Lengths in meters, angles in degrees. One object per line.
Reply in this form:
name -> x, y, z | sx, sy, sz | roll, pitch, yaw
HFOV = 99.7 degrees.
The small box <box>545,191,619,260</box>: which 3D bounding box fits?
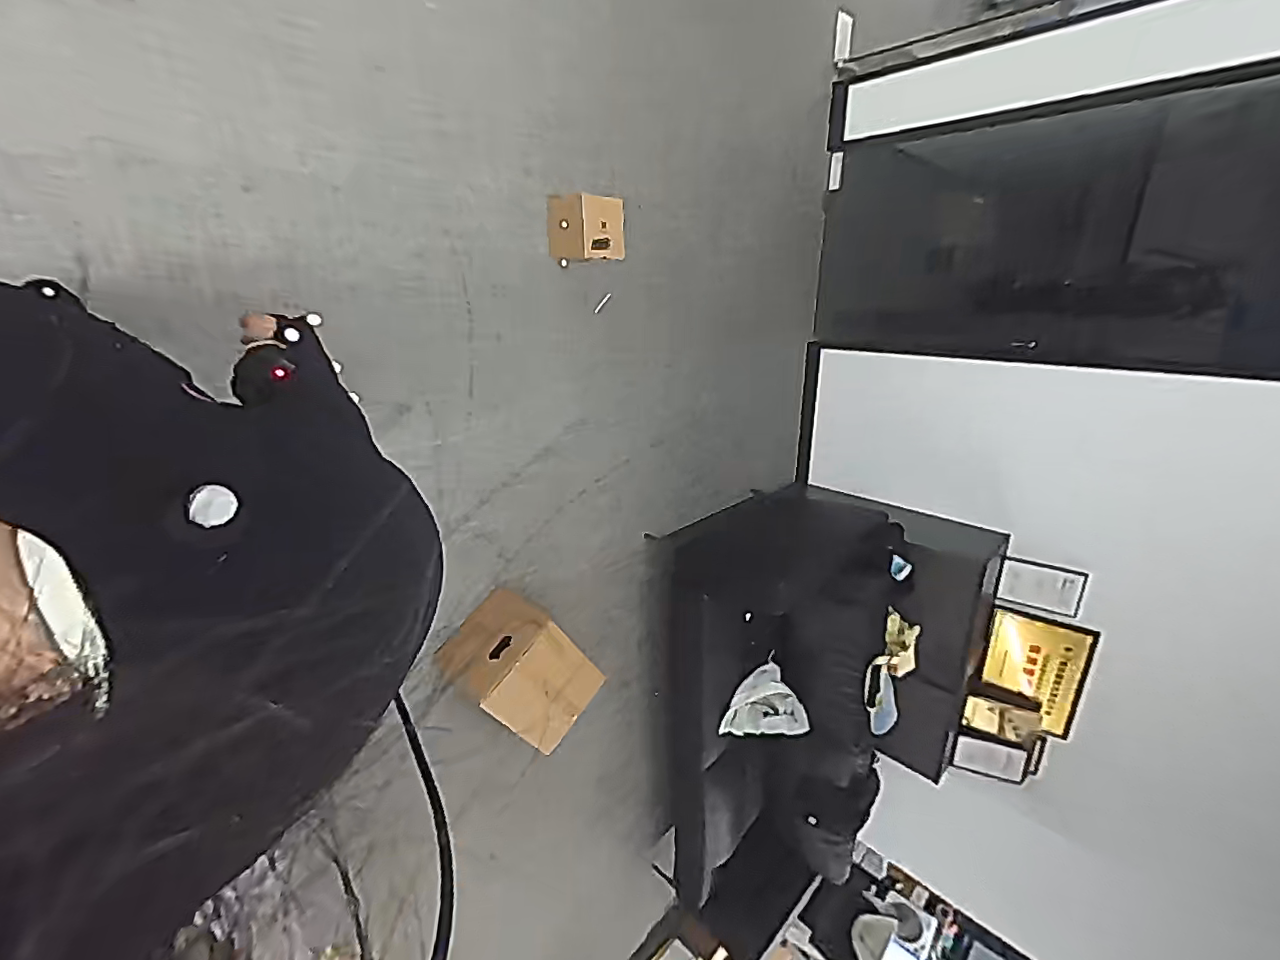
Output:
small box -> -0.182, -0.786, 1.689 | 0.168, 0.176, 0.179 | -18, 116, -42
